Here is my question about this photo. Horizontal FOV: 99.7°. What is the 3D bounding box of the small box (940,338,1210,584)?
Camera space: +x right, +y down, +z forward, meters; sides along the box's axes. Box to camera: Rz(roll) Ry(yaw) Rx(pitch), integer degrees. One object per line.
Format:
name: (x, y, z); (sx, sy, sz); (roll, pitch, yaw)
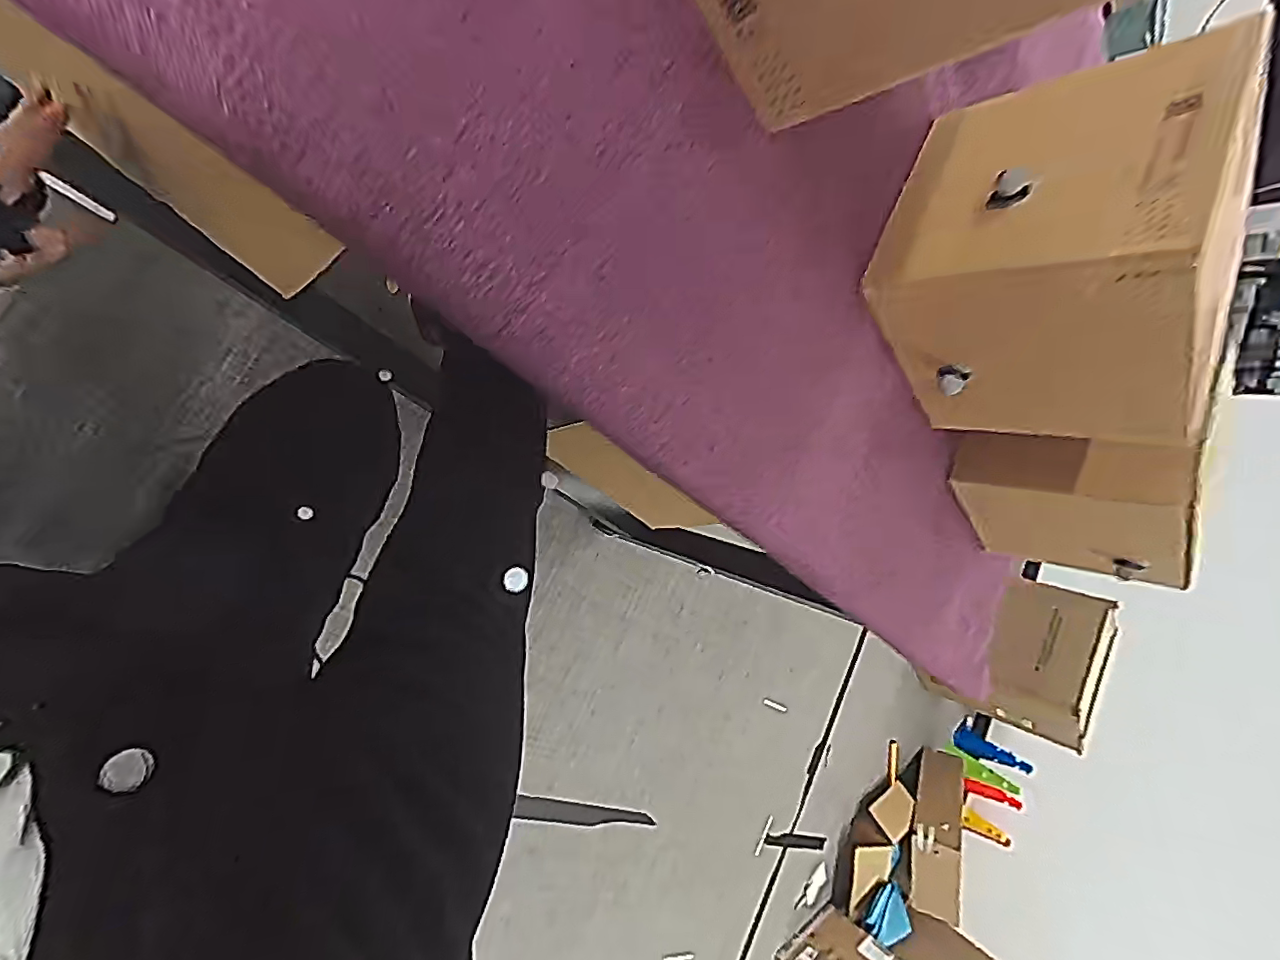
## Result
small box: (0.429, -0.021, 0.541); (0.179, 0.176, 0.168); (39, 71, -39)

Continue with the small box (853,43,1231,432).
small box: (0.286, -0.149, 0.387); (0.179, 0.176, 0.168); (39, 72, -39)
